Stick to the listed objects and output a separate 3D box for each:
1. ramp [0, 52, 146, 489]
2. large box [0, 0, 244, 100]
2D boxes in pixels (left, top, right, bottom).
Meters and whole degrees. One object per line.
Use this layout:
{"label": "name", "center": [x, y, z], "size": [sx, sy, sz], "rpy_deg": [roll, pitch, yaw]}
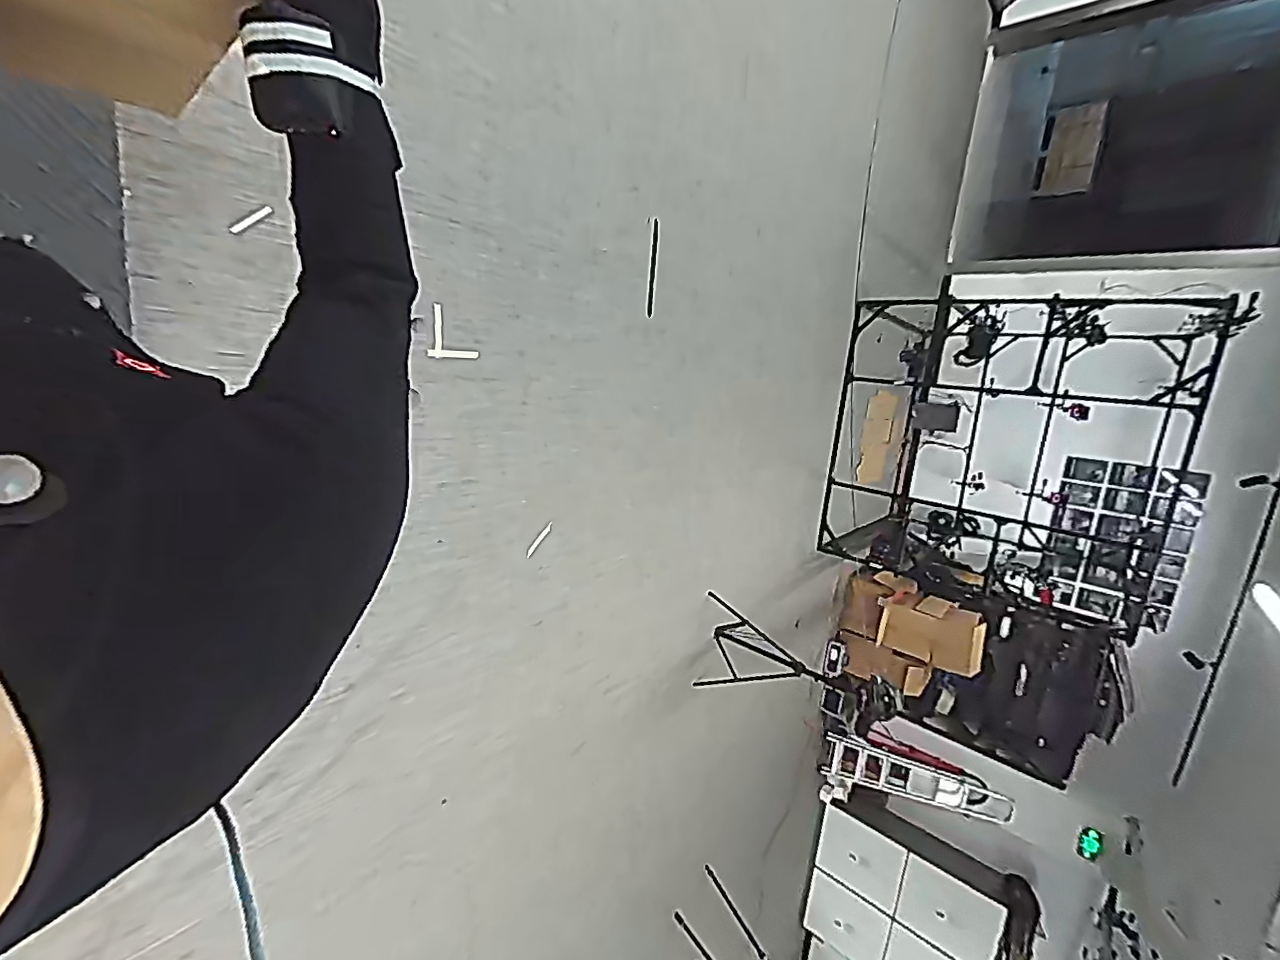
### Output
{"label": "ramp", "center": [-1.147, -0.438, 0.865], "size": [0.509, 0.206, 0.991], "rpy_deg": [-12, 111, -49]}
{"label": "large box", "center": [-0.457, -0.463, 0.248], "size": [0.408, 0.320, 0.320], "rpy_deg": [-10, 106, -49]}
